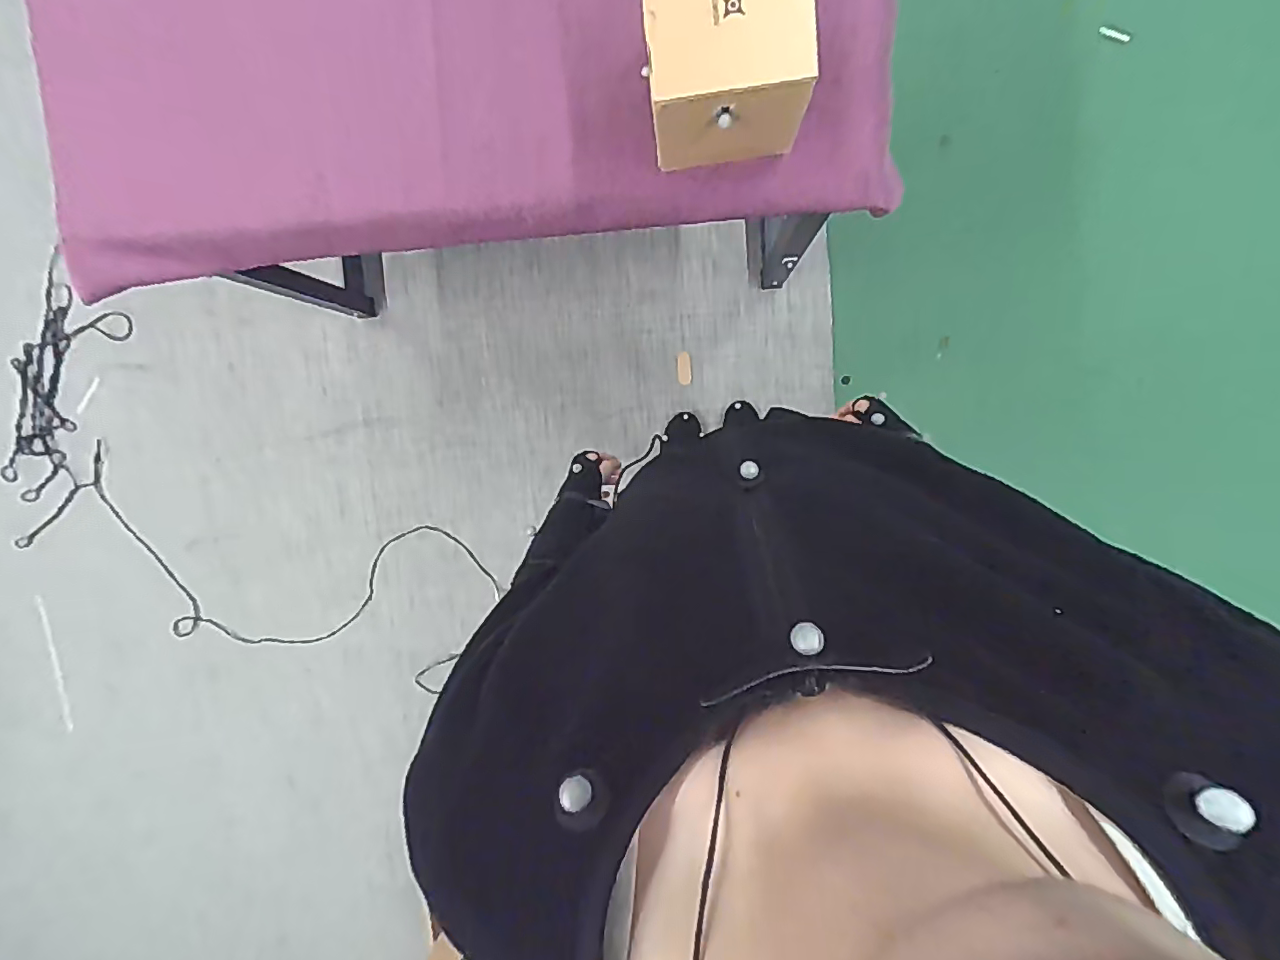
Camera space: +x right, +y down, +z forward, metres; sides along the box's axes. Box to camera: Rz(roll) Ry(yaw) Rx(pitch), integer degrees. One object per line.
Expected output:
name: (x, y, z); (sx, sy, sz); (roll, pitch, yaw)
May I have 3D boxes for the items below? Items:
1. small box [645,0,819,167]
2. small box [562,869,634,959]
small box: (0.103, -0.501, 0.640); (0.179, 0.176, 0.168); (-5, 97, 9)
small box: (-0.119, 1.262, 1.559); (0.179, 0.176, 0.168); (-9, 93, 10)
